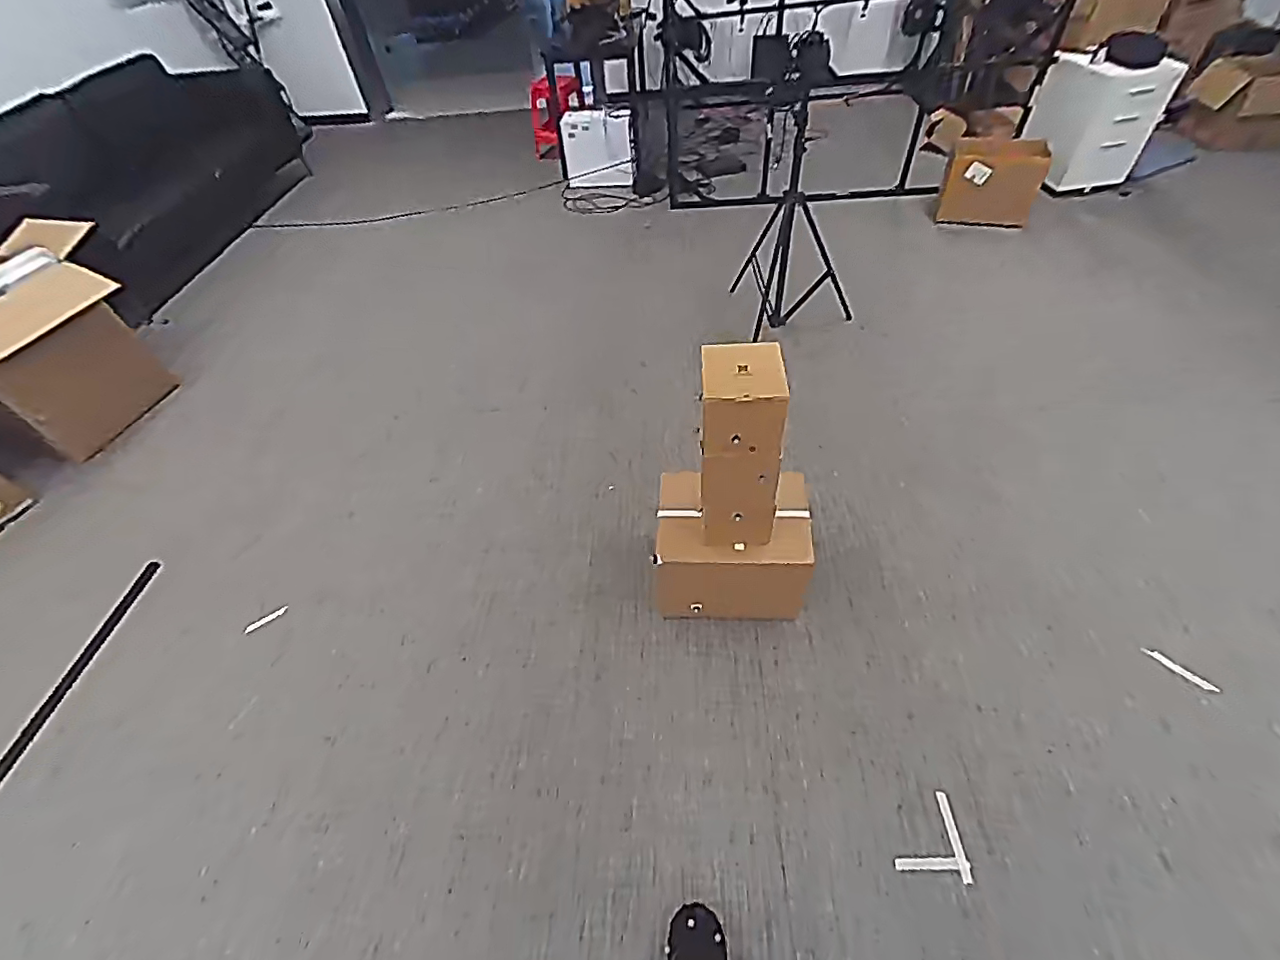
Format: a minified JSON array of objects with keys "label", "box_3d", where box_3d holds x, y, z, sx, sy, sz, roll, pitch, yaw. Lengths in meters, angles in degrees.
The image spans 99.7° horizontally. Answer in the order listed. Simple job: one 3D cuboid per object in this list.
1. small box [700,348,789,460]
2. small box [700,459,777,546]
[{"label":"small box","box_3d":[0.213,-0.161,1.153,0.168,0.176,0.179,-1,50,4]},{"label":"small box","box_3d":[0.245,0.060,1.392,0.179,0.176,0.168,-1,50,3]}]
